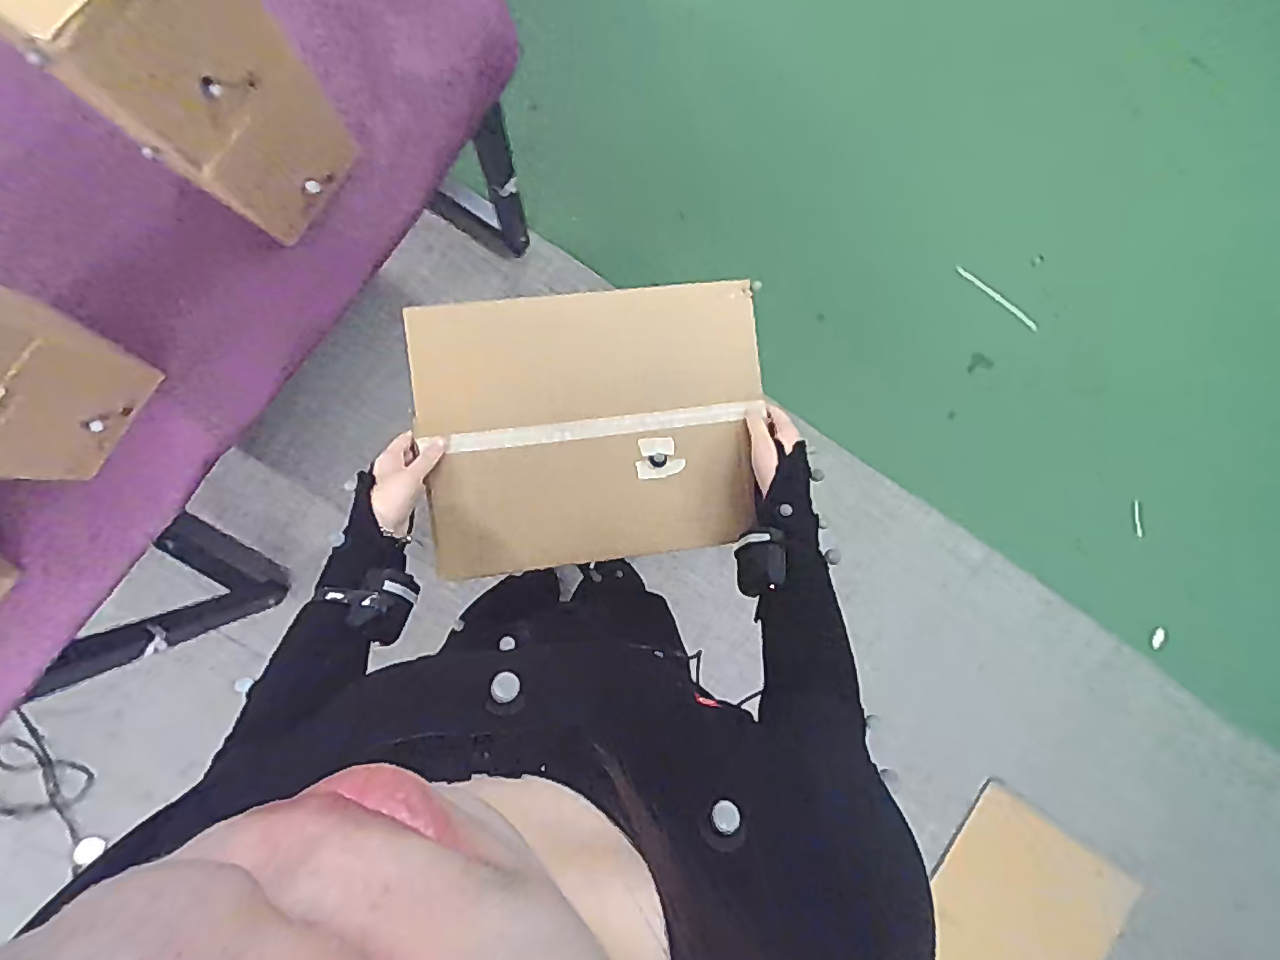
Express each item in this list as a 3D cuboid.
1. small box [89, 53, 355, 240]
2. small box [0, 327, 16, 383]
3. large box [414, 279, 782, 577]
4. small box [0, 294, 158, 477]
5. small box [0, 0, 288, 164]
[{"bbox_3d":[-0.489,-0.426,0.645,0.179,0.176,0.168,33,86,-5],"label":"small box"},{"bbox_3d":[-0.708,-0.114,0.447,0.168,0.176,0.179,31,85,-3],"label":"small box"},{"bbox_3d":[-0.059,-0.066,0.773,0.408,0.320,0.320,-6,92,-7],"label":"large box"},{"bbox_3d":[-0.725,-0.111,0.611,0.179,0.176,0.168,31,86,-4],"label":"small box"},{"bbox_3d":[-0.474,-0.433,0.484,0.179,0.176,0.168,33,86,-5],"label":"small box"}]
